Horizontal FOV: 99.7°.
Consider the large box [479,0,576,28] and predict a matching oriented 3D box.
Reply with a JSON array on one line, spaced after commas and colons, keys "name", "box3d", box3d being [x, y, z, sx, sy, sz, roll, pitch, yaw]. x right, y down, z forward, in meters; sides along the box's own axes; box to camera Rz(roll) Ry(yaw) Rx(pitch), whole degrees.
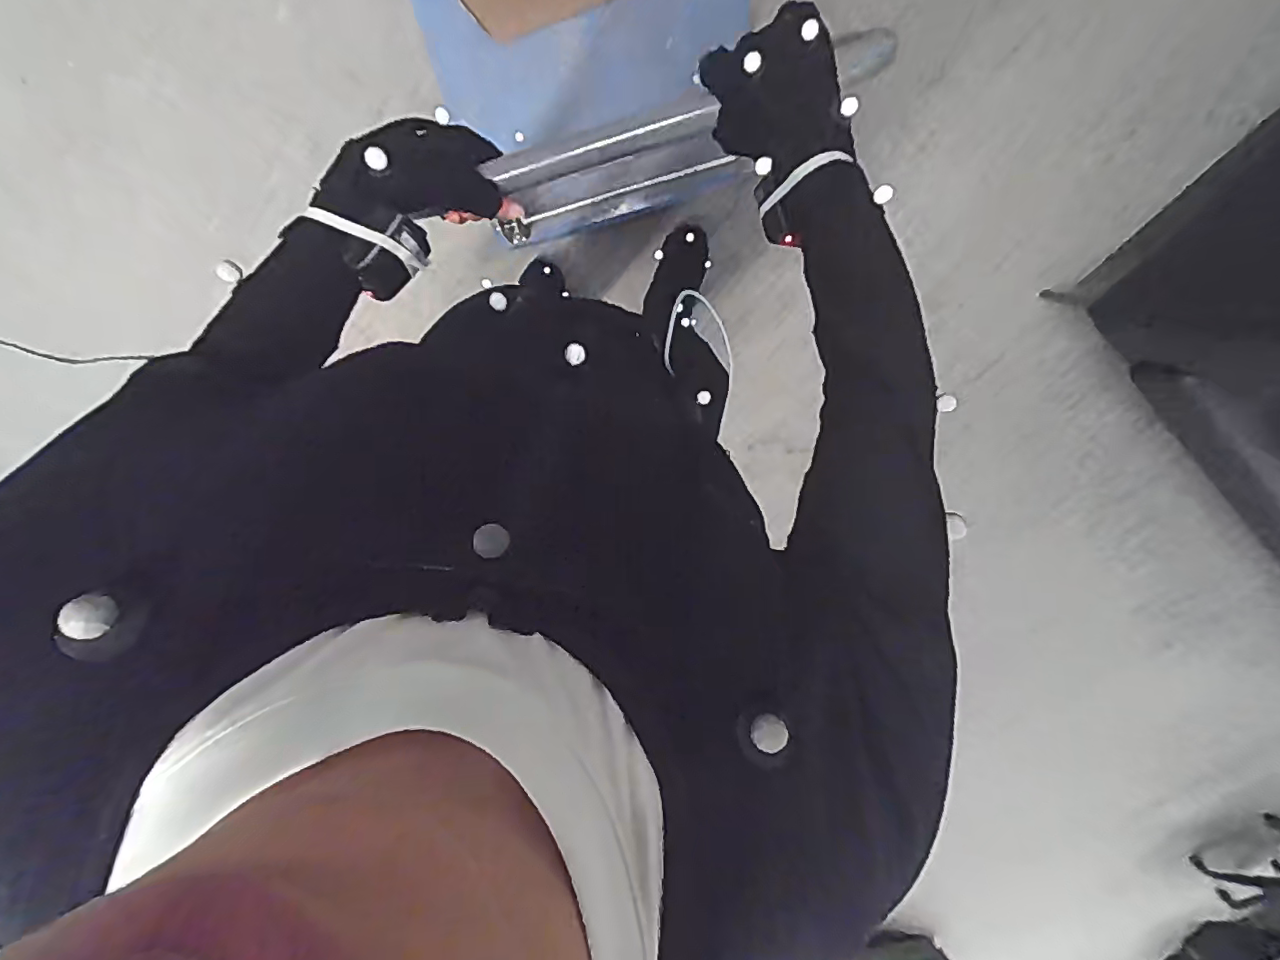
[{"name": "large box", "box3d": [-0.103, -0.926, 0.755, 0.408, 0.320, 0.320, -16, 116, 8]}]
